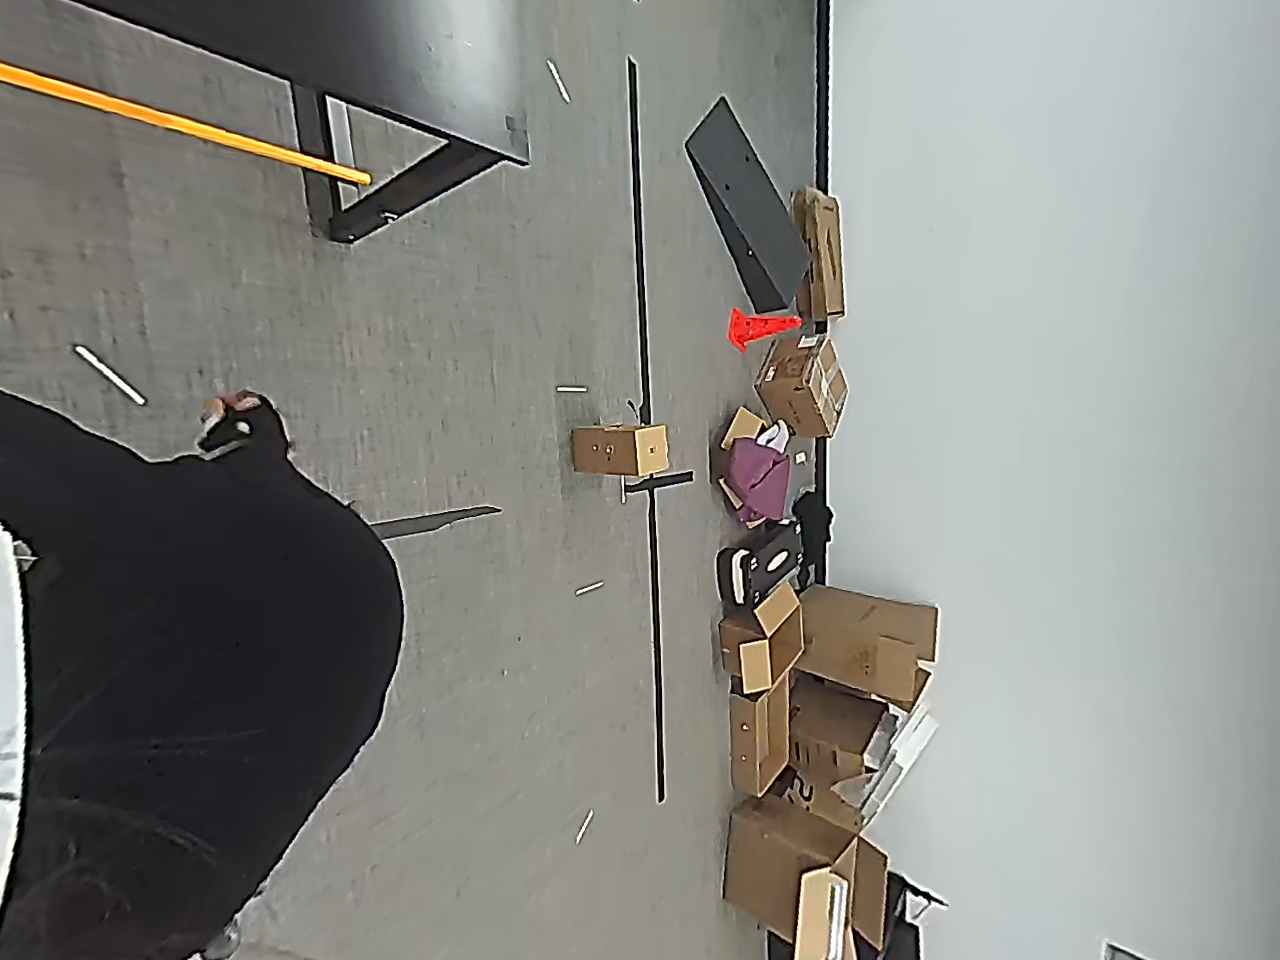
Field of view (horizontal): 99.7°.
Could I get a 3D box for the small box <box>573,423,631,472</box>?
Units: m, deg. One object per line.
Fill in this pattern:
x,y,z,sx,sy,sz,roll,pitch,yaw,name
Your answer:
-0.143,-0.128,2.086,0.168,0.176,0.179,-13,104,-49,small box

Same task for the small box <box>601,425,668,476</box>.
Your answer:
-0.021,-0.114,1.981,0.179,0.176,0.168,-16,104,-47,small box
